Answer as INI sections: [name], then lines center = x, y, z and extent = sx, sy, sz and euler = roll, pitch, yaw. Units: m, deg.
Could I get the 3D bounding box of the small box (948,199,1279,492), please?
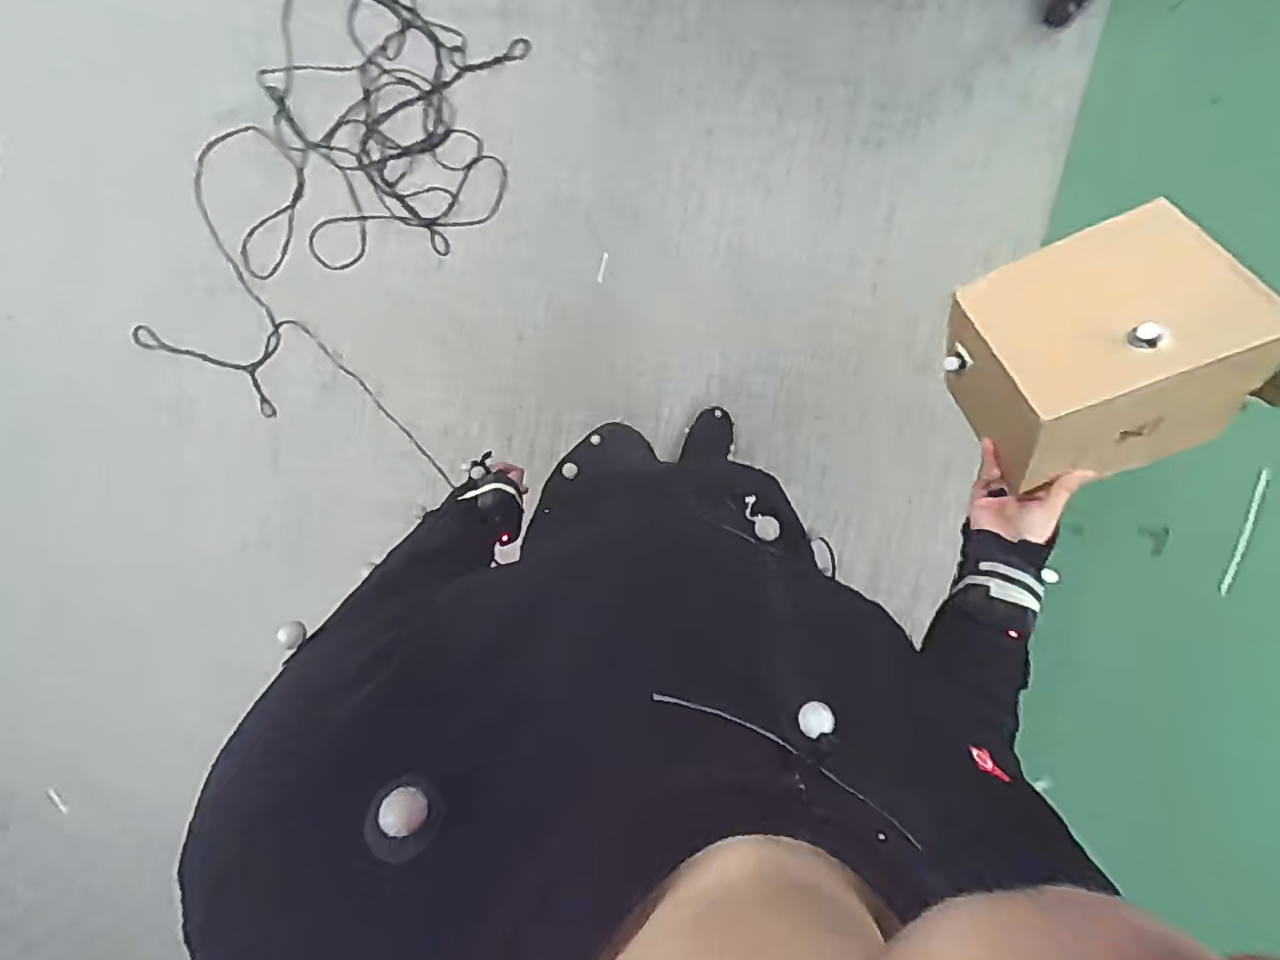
[small box]
center = 0.421, -0.119, 0.507
extent = 0.179, 0.168, 0.176
euler = -22, 55, 17
